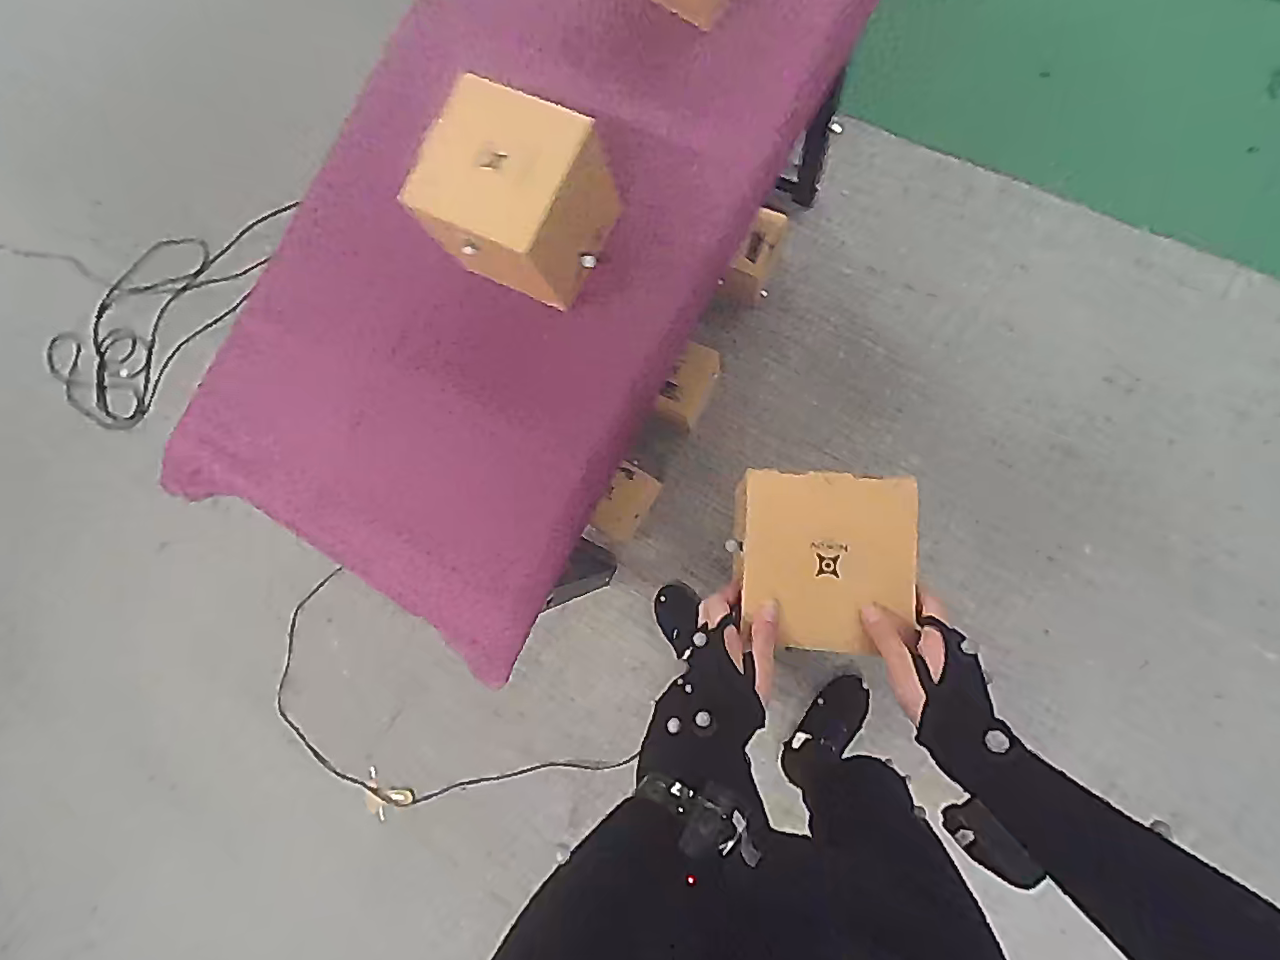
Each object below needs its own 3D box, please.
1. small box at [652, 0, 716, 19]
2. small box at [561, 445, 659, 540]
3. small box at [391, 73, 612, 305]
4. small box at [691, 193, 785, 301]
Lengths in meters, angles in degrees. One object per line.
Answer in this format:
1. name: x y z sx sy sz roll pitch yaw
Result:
1. small box: 0.053 -0.738 0.673 0.179 0.176 0.168 39 92 11
2. small box: -0.066 0.037 1.356 0.168 0.176 0.179 31 90 12
3. small box: -0.158 -0.345 0.673 0.179 0.176 0.168 27 90 11
4. small box: 0.247 -0.576 1.363 0.179 0.176 0.168 25 89 13
